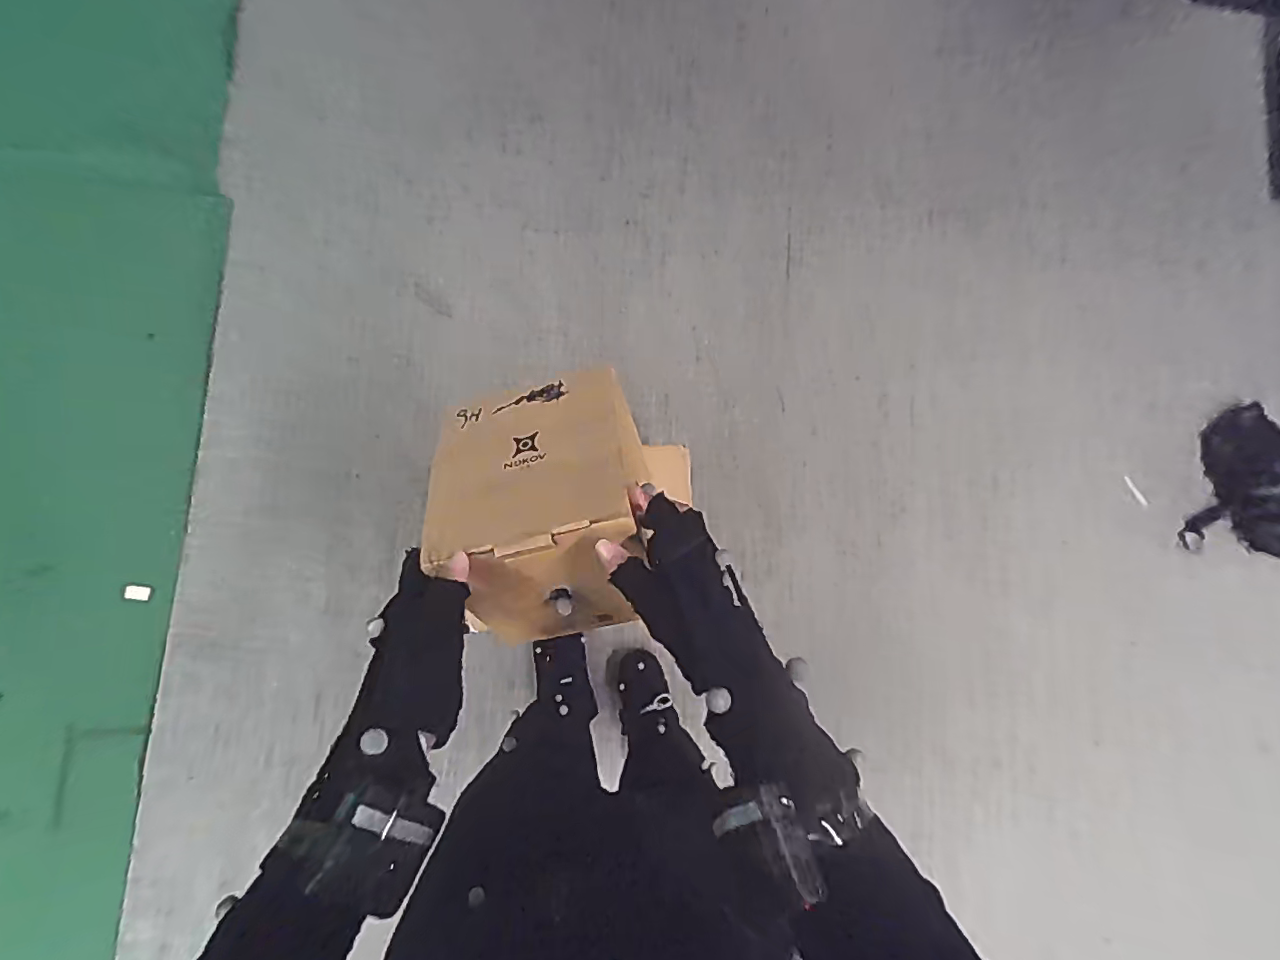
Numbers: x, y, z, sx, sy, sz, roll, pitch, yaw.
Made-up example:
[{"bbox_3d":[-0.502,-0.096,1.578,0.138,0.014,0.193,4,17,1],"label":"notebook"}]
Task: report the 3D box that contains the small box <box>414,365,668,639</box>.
[{"bbox_3d":[-0.077,0.031,0.494,0.168,0.176,0.179,-14,53,7],"label":"small box"}]
